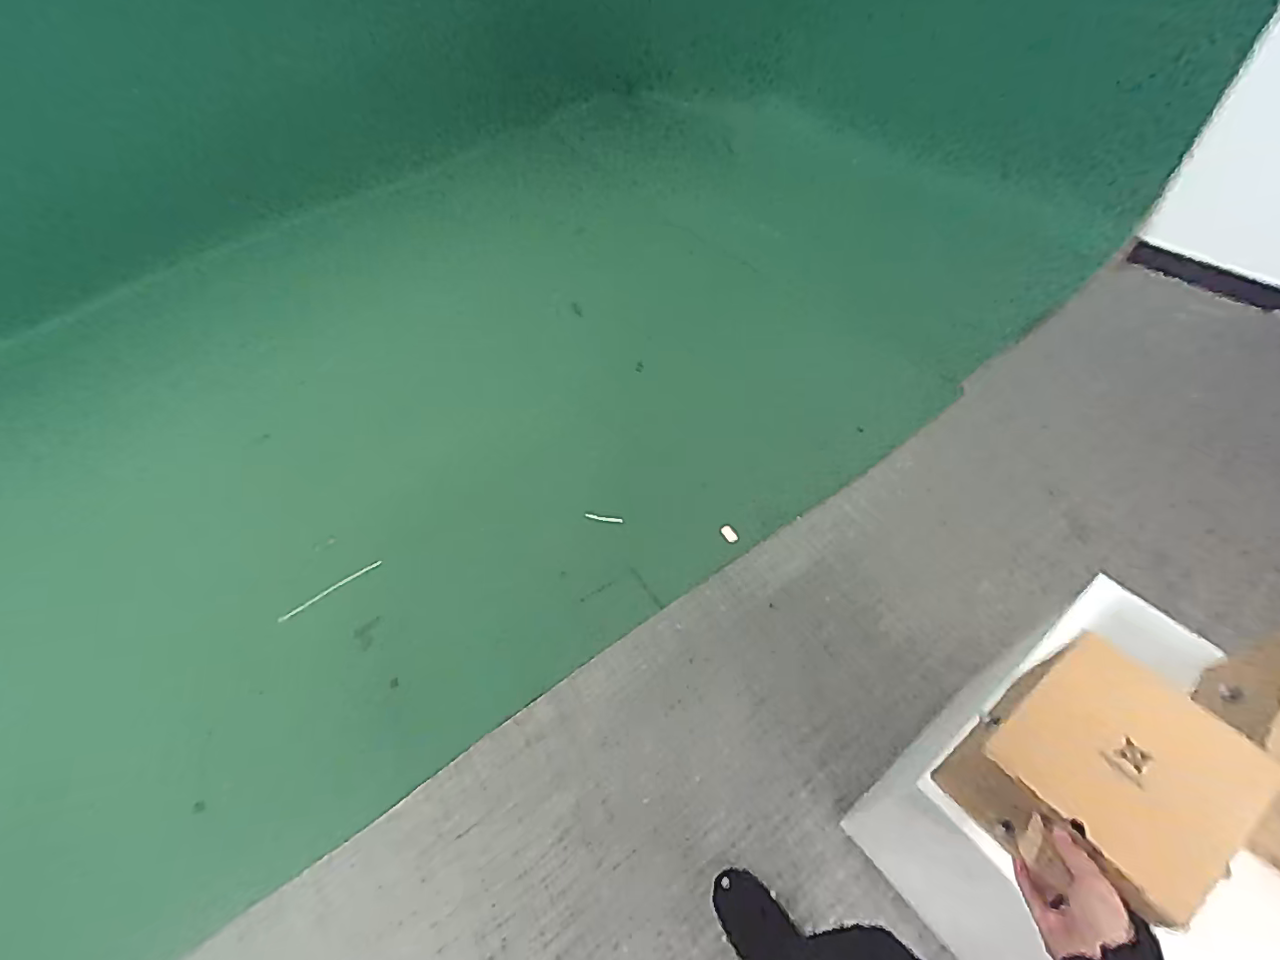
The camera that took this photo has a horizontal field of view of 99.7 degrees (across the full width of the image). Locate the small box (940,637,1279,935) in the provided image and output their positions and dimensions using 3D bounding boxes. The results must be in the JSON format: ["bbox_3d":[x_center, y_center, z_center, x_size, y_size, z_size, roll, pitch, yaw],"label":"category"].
[{"bbox_3d":[0.438,0.296,0.535,0.179,0.176,0.168,-34,56,-16],"label":"small box"}]
